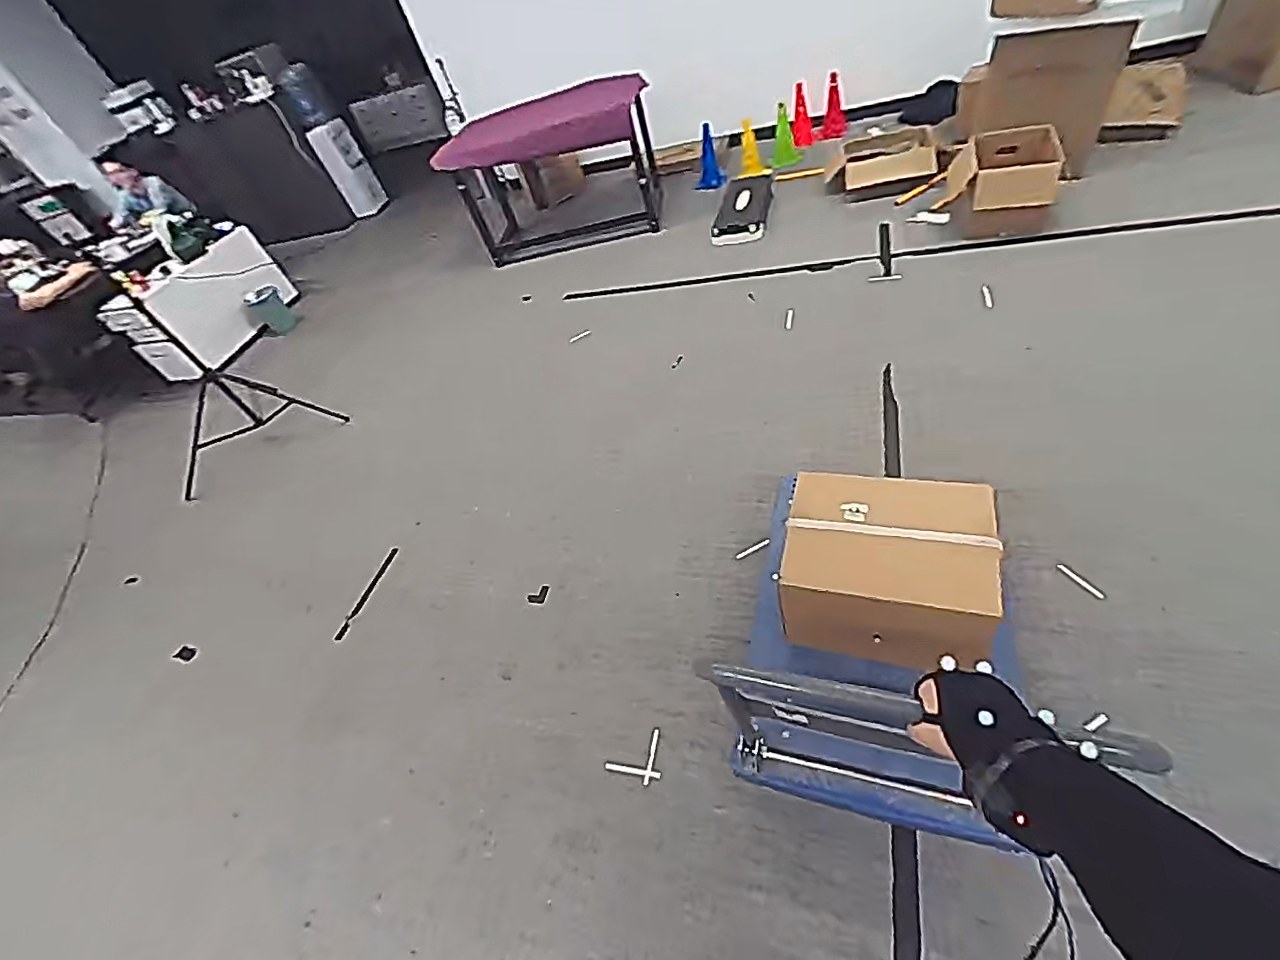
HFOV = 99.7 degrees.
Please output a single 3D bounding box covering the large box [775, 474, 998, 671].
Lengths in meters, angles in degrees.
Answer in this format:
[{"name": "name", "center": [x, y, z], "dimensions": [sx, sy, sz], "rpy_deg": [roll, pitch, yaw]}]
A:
[{"name": "large box", "center": [0.549, 0.205, 1.240], "dimensions": [0.408, 0.320, 0.320], "rpy_deg": [3, 51, 24]}]
